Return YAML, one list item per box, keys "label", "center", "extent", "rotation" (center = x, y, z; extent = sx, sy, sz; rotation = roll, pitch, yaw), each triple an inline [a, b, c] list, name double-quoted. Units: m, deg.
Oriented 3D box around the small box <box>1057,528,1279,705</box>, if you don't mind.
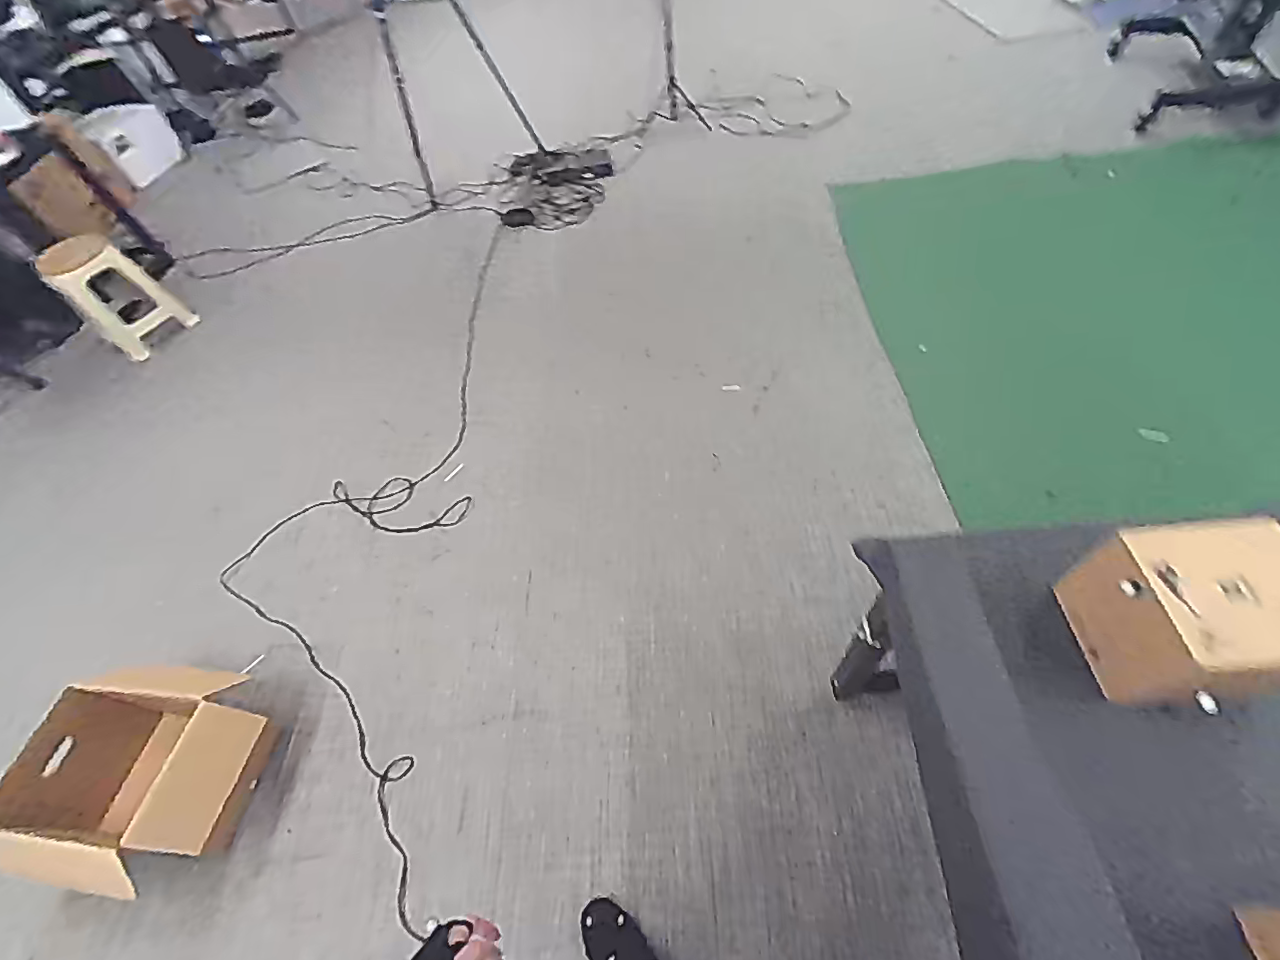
- label: "small box"
  center: [0.679, 0.173, 0.669]
  extent: [0.179, 0.176, 0.168]
  rotation: [-4, 54, 5]
